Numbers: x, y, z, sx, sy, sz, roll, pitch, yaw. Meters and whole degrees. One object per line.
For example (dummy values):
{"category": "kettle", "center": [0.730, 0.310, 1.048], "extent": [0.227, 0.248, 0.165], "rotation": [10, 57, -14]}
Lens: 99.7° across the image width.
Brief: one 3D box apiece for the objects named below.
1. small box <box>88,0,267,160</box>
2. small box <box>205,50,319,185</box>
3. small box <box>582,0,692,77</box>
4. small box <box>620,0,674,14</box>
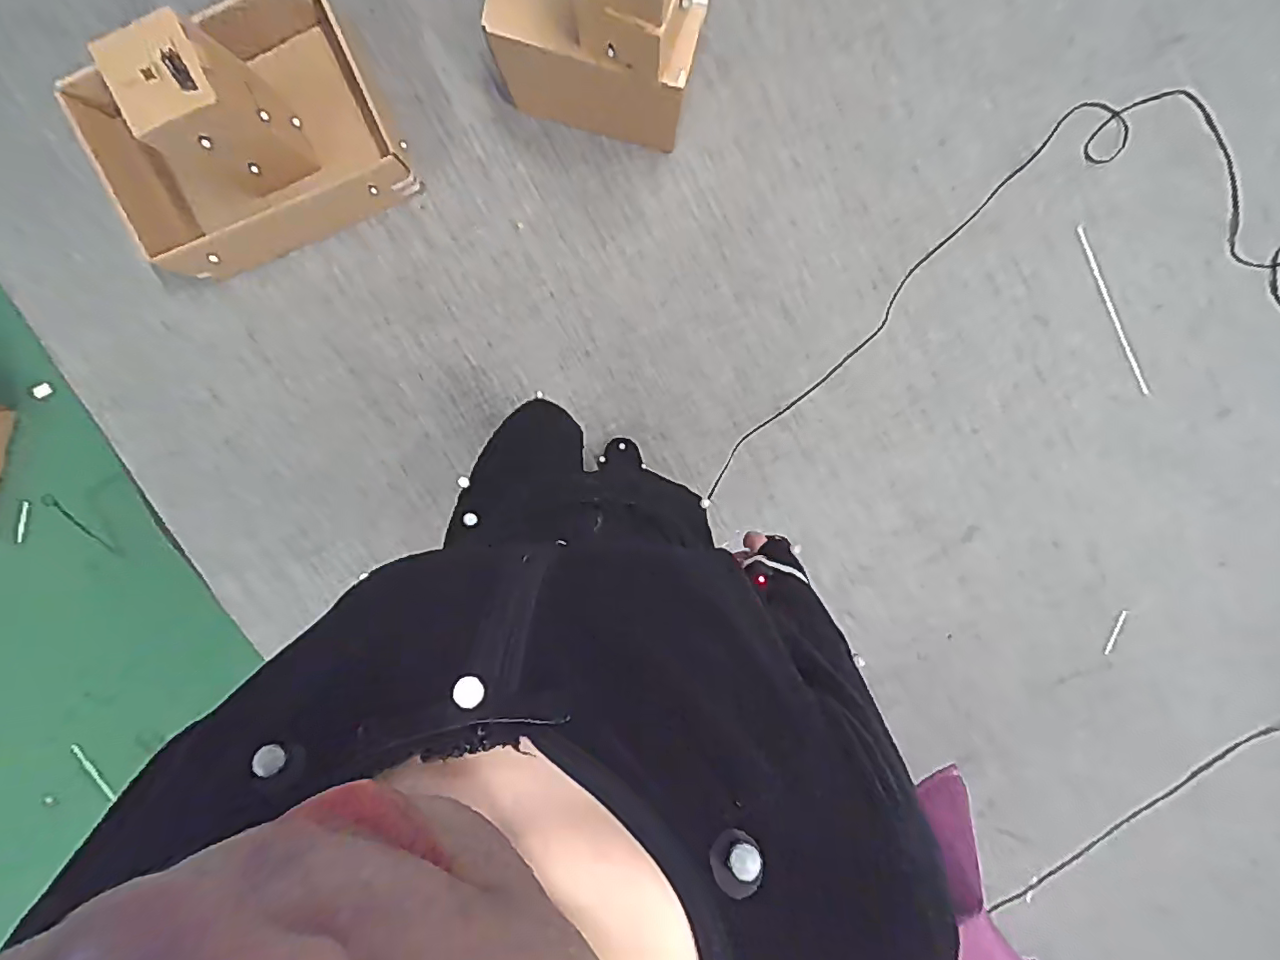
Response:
{"category": "small box", "center": [-0.868, -0.759, 1.042], "extent": [0.179, 0.176, 0.168], "rotation": [-21, 100, 5]}
{"category": "small box", "center": [-0.869, -0.792, 1.203], "extent": [0.179, 0.176, 0.168], "rotation": [-22, 101, 3]}
{"category": "small box", "center": [0.001, -0.861, 0.938], "extent": [0.168, 0.176, 0.179], "rotation": [24, 103, -5]}
{"category": "small box", "center": [-0.011, -0.829, 0.776], "extent": [0.179, 0.176, 0.168], "rotation": [20, 103, -4]}
